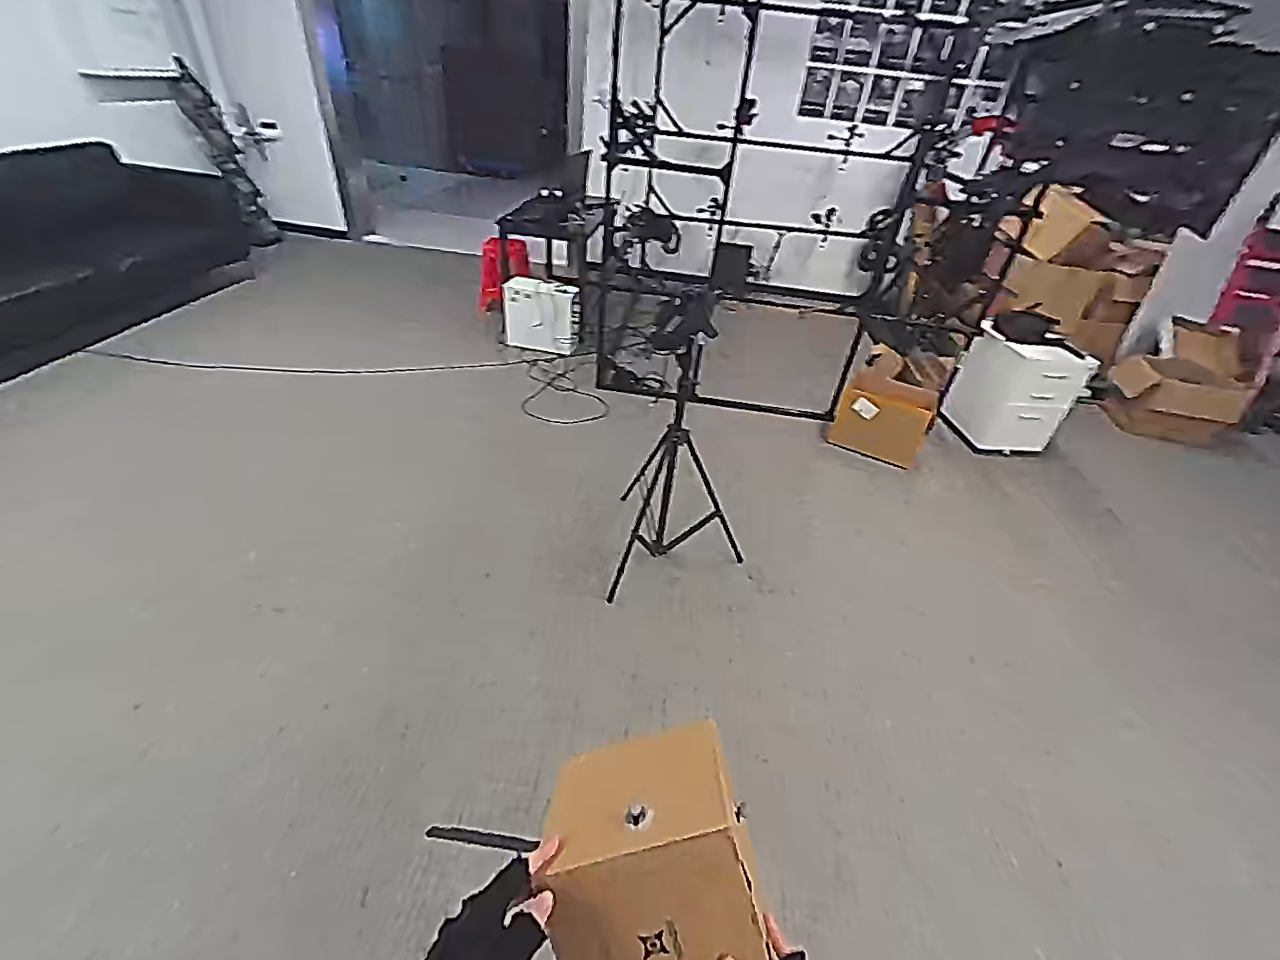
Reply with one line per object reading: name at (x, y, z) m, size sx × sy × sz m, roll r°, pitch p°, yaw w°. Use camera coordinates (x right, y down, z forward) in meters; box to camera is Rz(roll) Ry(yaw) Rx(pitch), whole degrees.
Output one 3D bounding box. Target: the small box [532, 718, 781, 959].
small box at (0.017, 0.360, 0.523) m, size 0.179 × 0.168 × 0.176 m, roll -17°, pitch 3°, yaw 3°
